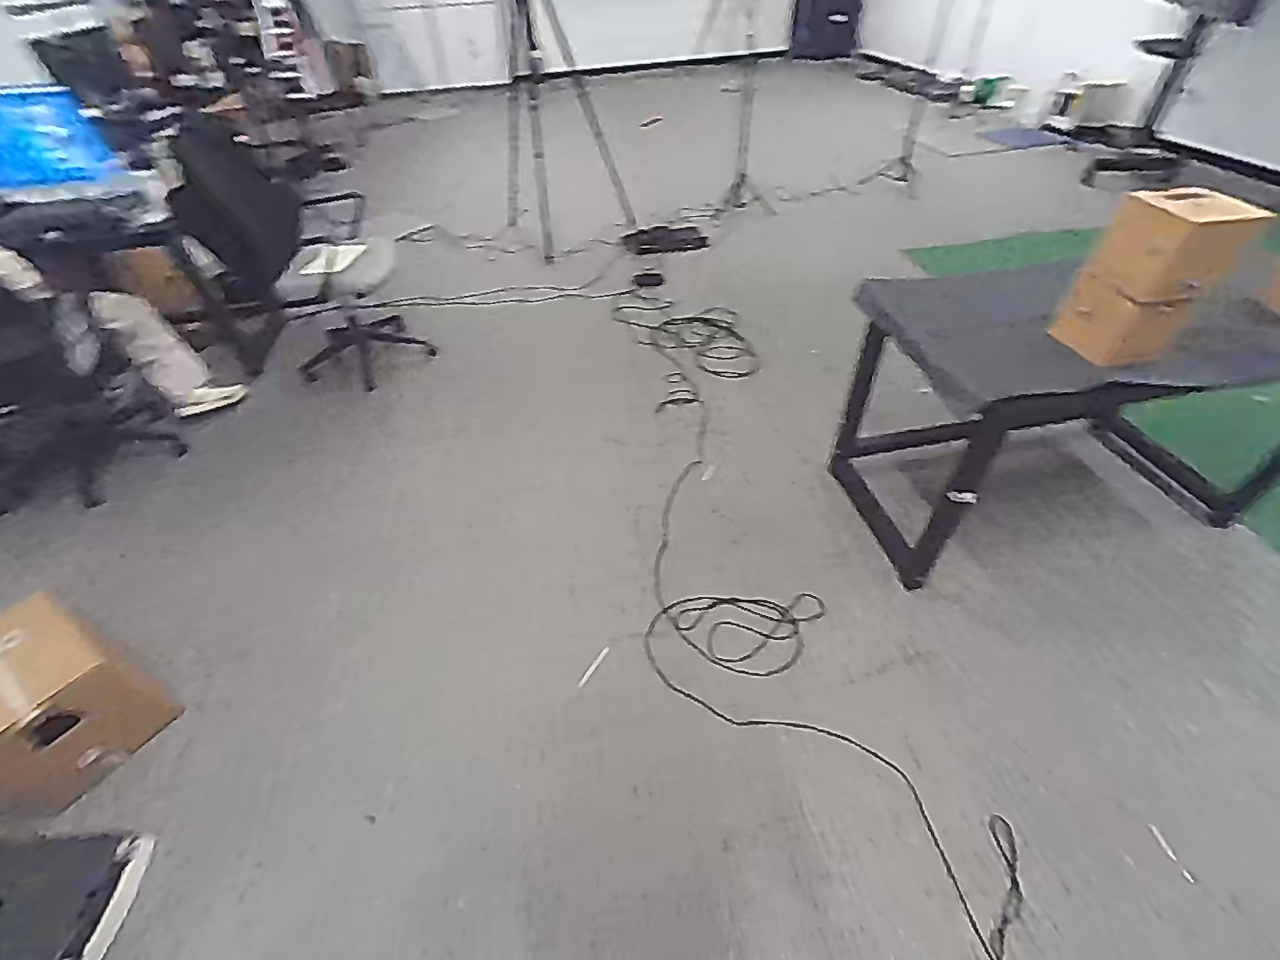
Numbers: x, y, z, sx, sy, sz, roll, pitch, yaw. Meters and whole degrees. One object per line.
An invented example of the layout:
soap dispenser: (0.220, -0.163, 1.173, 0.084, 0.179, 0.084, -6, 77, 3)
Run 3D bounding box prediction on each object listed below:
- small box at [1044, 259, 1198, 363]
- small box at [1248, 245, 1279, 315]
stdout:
small box: (1.111, -0.396, 1.270, 0.168, 0.176, 0.179, -10, 44, -6)
small box: (1.682, -0.499, 1.320, 0.168, 0.176, 0.179, 4, 44, 9)
